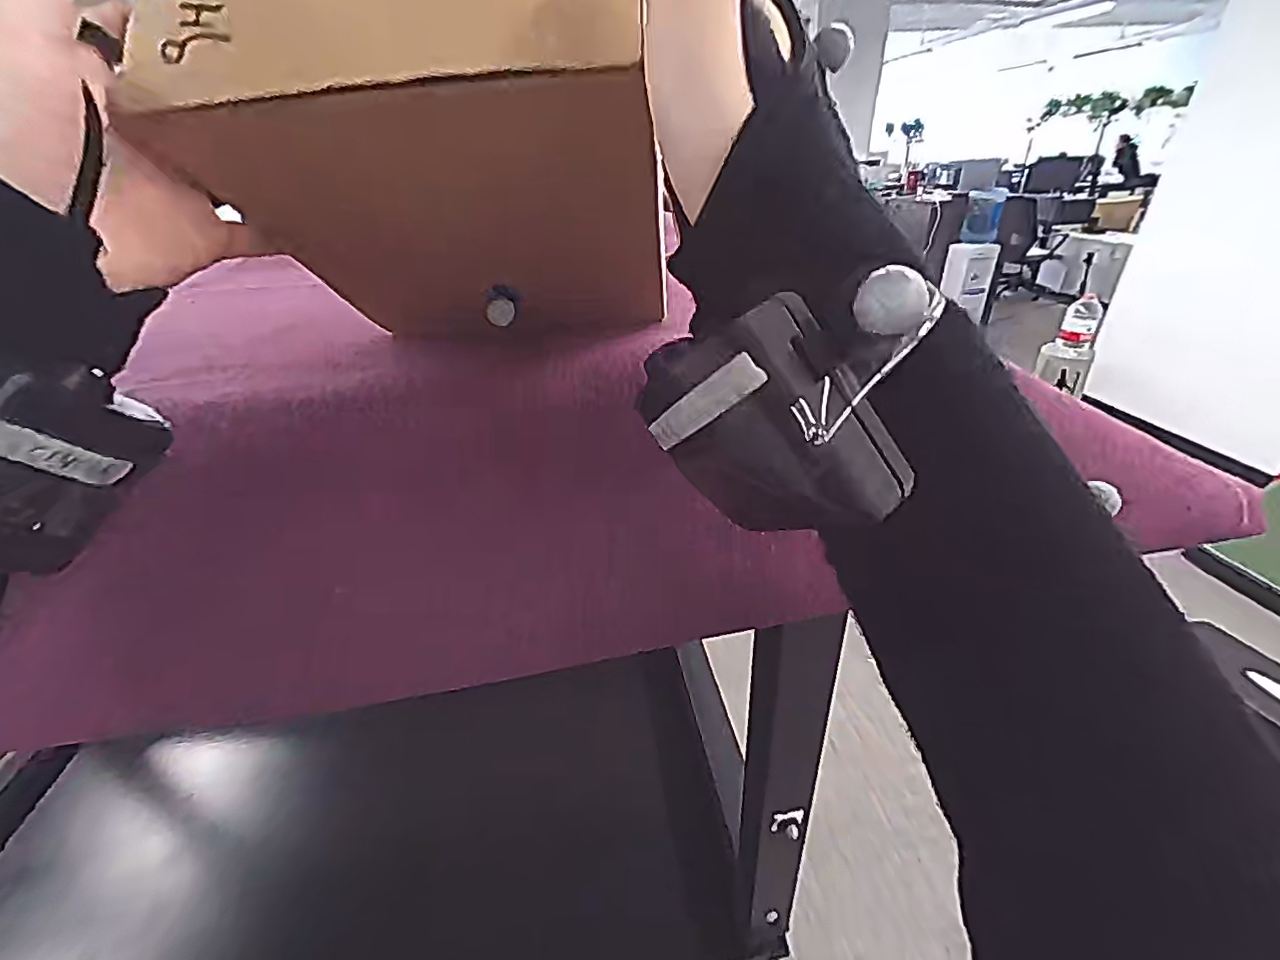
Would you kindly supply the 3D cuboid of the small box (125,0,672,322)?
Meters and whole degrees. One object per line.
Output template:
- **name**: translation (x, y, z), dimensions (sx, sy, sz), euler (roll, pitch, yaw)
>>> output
- **small box**: translation (-0.075, -0.188, 0.259), dimensions (0.179, 0.168, 0.176), euler (-2, -9, 4)
